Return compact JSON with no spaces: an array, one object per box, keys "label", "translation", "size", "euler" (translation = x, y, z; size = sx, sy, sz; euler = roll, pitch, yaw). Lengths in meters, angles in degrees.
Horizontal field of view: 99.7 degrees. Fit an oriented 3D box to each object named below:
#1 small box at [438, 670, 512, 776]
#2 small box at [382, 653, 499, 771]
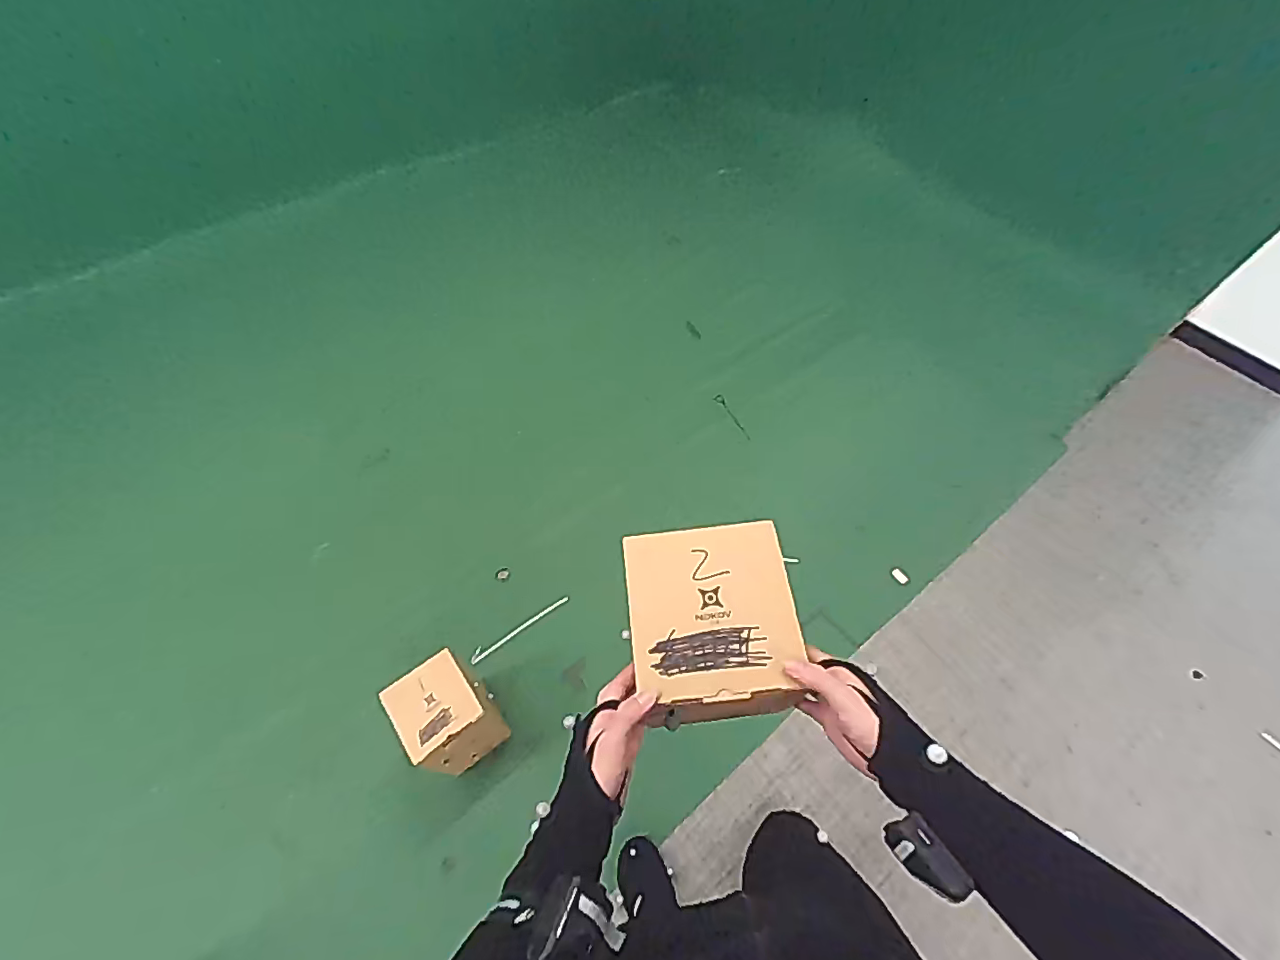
[{"label":"small box","translation":[-0.444,0.614,1.356],"size":[0.168,0.176,0.179],"euler":[-33,65,-20]},{"label":"small box","translation":[-0.440,0.527,1.218],"size":[0.168,0.176,0.179],"euler":[-33,63,-20]}]
